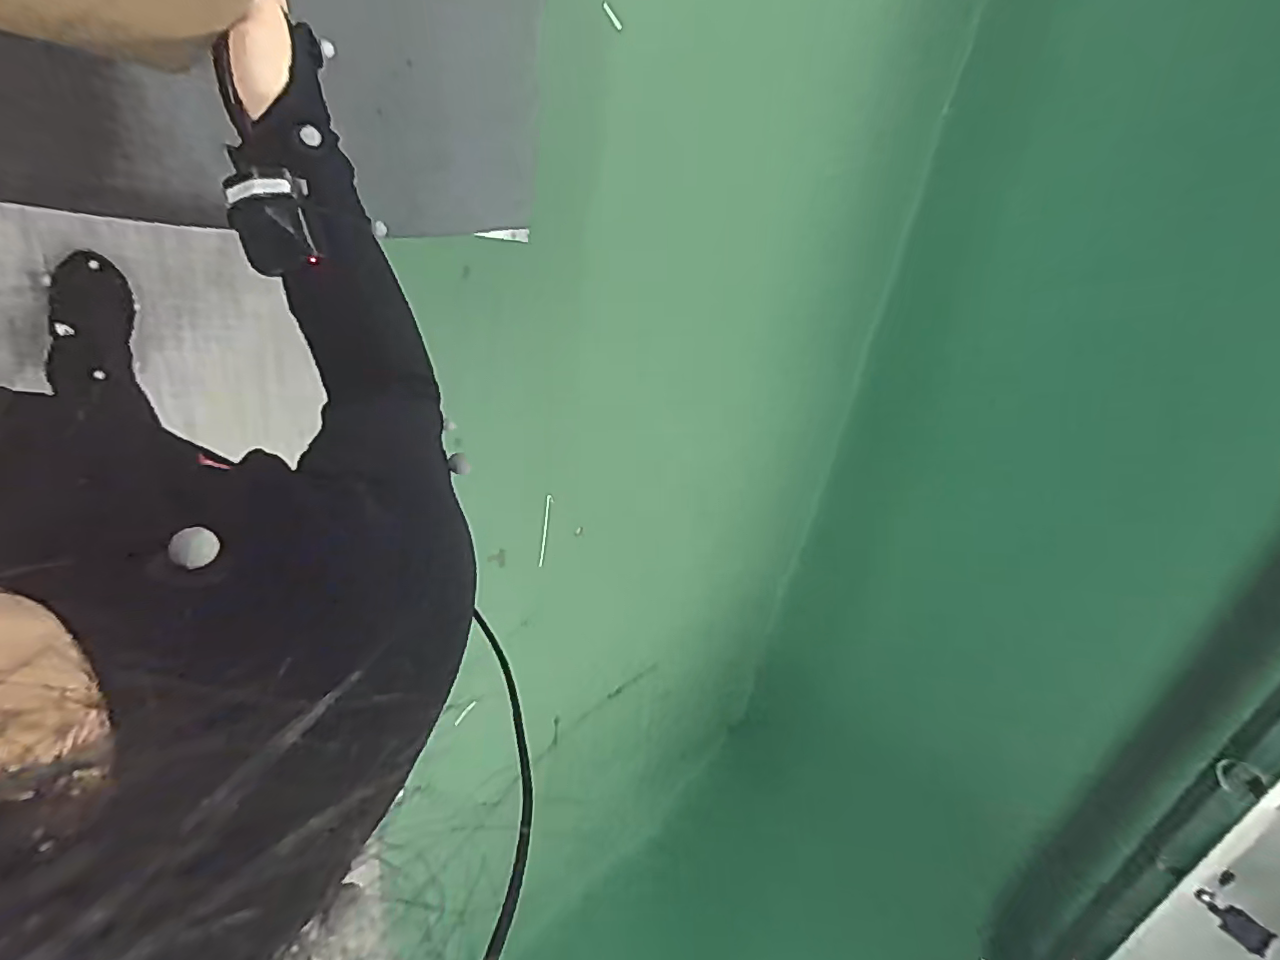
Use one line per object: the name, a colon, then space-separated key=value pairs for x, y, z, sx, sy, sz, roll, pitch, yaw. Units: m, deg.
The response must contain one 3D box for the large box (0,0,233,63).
large box: x=-0.393 y=-0.402 z=0.162 sx=0.408 sy=0.320 sz=0.320 roll=-17 pitch=118 yaw=-46
